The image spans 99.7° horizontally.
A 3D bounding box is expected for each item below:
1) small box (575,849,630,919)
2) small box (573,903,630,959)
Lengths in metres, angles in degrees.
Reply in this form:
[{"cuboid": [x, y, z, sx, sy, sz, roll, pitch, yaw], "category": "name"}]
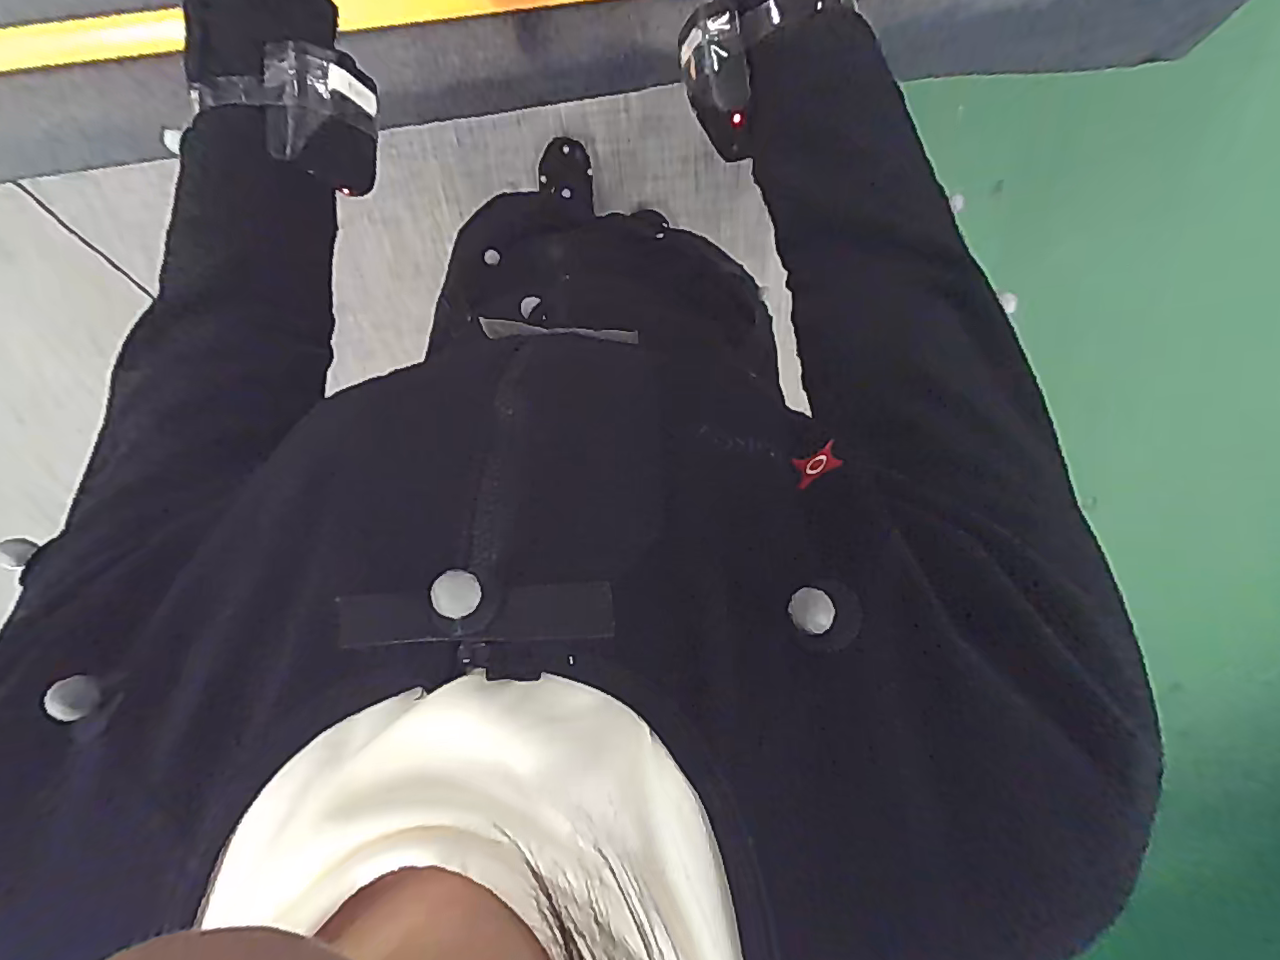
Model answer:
[{"cuboid": [-0.135, 1.476, 1.964, 0.168, 0.176, 0.179, -12, 123, 3], "category": "small box"}, {"cuboid": [-0.125, 1.569, 1.830, 0.168, 0.176, 0.179, -10, 123, 1], "category": "small box"}]
